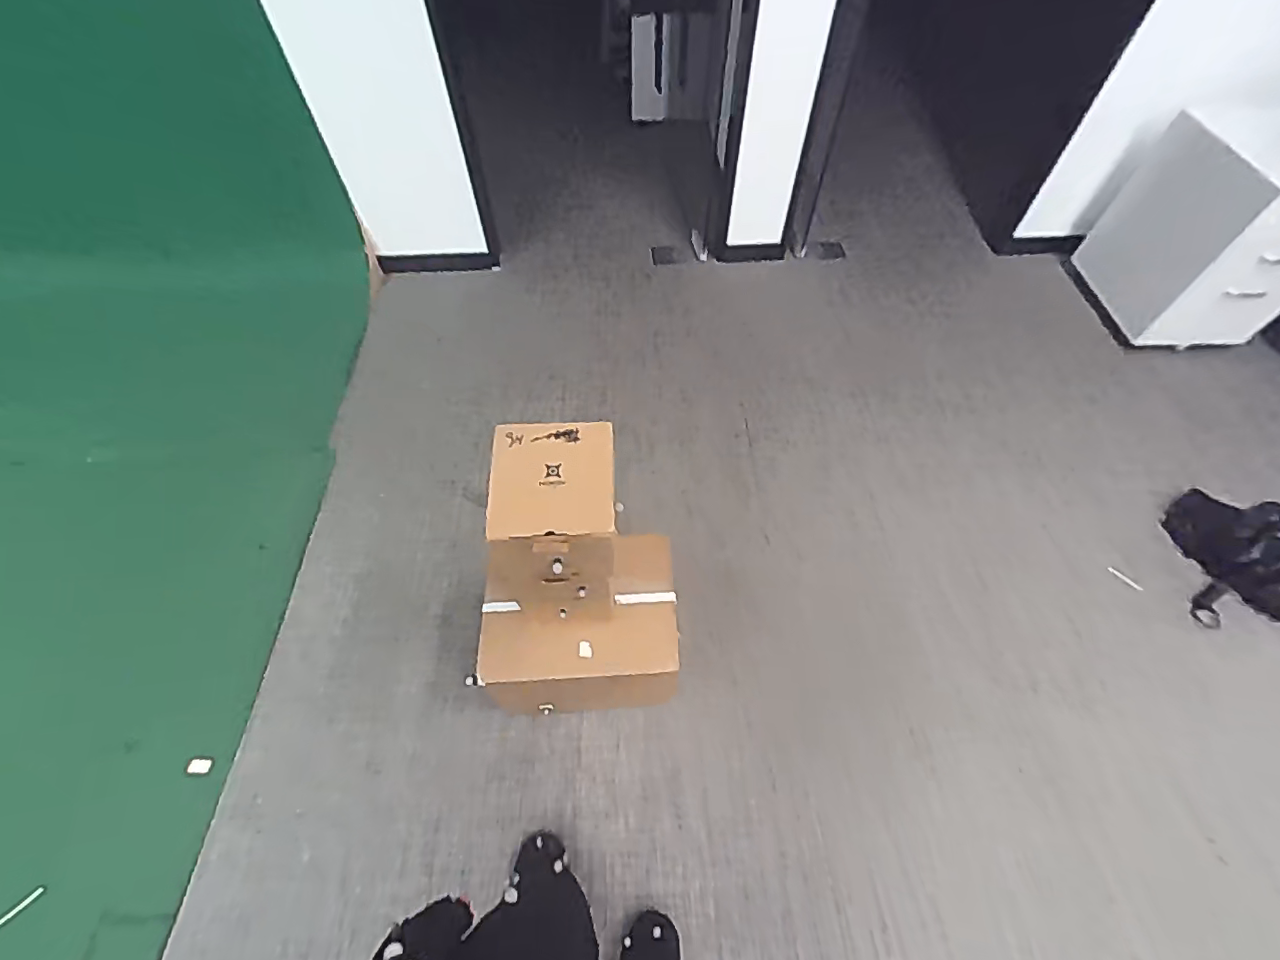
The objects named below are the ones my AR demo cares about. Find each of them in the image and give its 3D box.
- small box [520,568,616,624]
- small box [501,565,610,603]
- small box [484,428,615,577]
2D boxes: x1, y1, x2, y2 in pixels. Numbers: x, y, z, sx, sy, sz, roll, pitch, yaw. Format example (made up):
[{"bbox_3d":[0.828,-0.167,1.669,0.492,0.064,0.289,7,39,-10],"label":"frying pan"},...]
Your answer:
[{"bbox_3d":[-0.140,0.188,1.092,0.179,0.176,0.168,-4,62,-2],"label":"small box"},{"bbox_3d":[-0.139,0.112,0.949,0.168,0.176,0.179,-2,61,-3],"label":"small box"},{"bbox_3d":[-0.123,0.041,0.802,0.168,0.176,0.179,-2,63,-2],"label":"small box"}]
